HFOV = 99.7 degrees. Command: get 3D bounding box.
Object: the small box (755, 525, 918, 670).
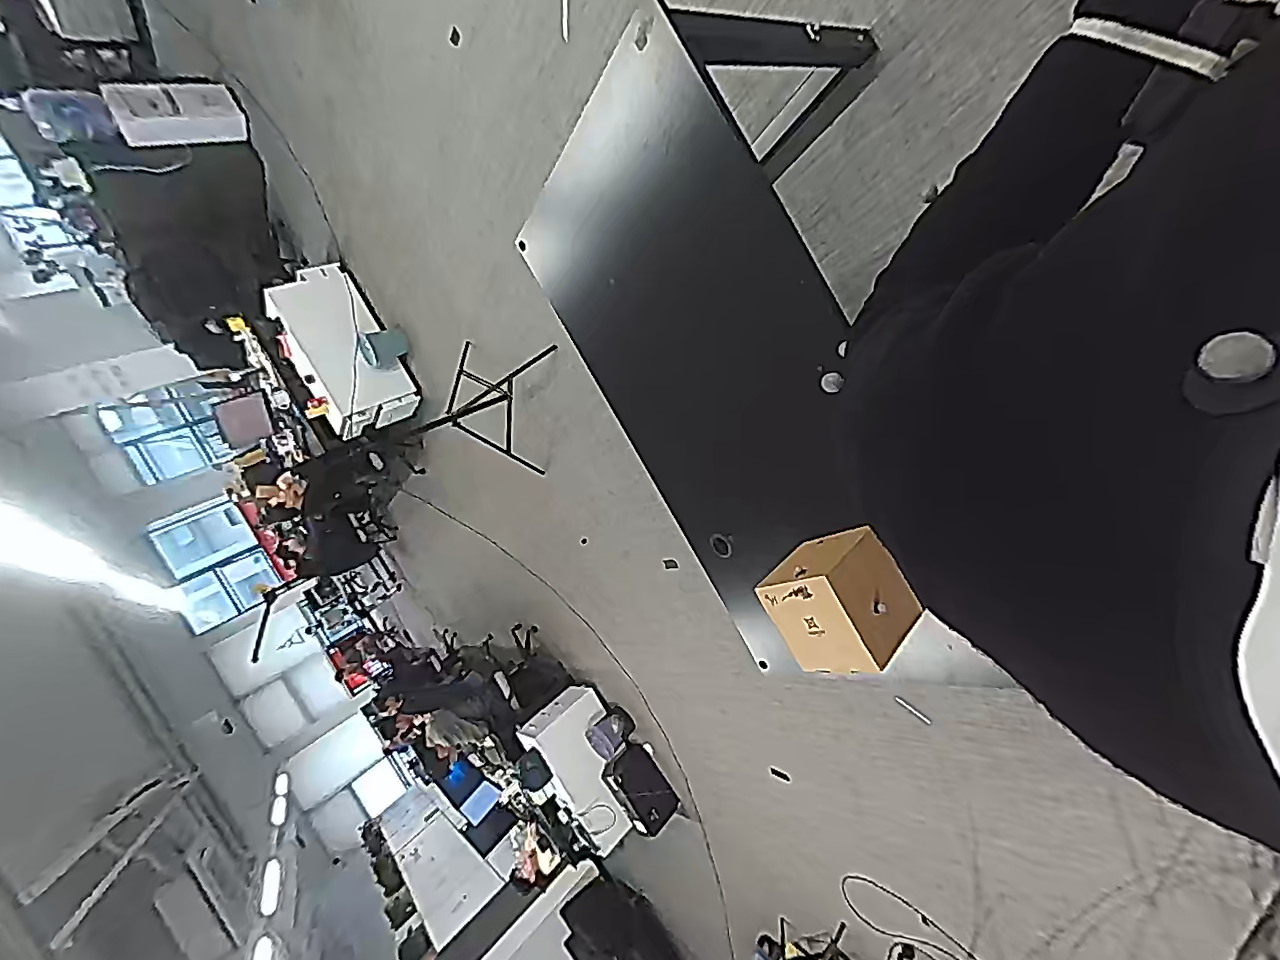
[{"bbox_3d":[0.343,0.204,0.938,0.179,0.176,0.168,59,145,-1],"label":"small box"}]
